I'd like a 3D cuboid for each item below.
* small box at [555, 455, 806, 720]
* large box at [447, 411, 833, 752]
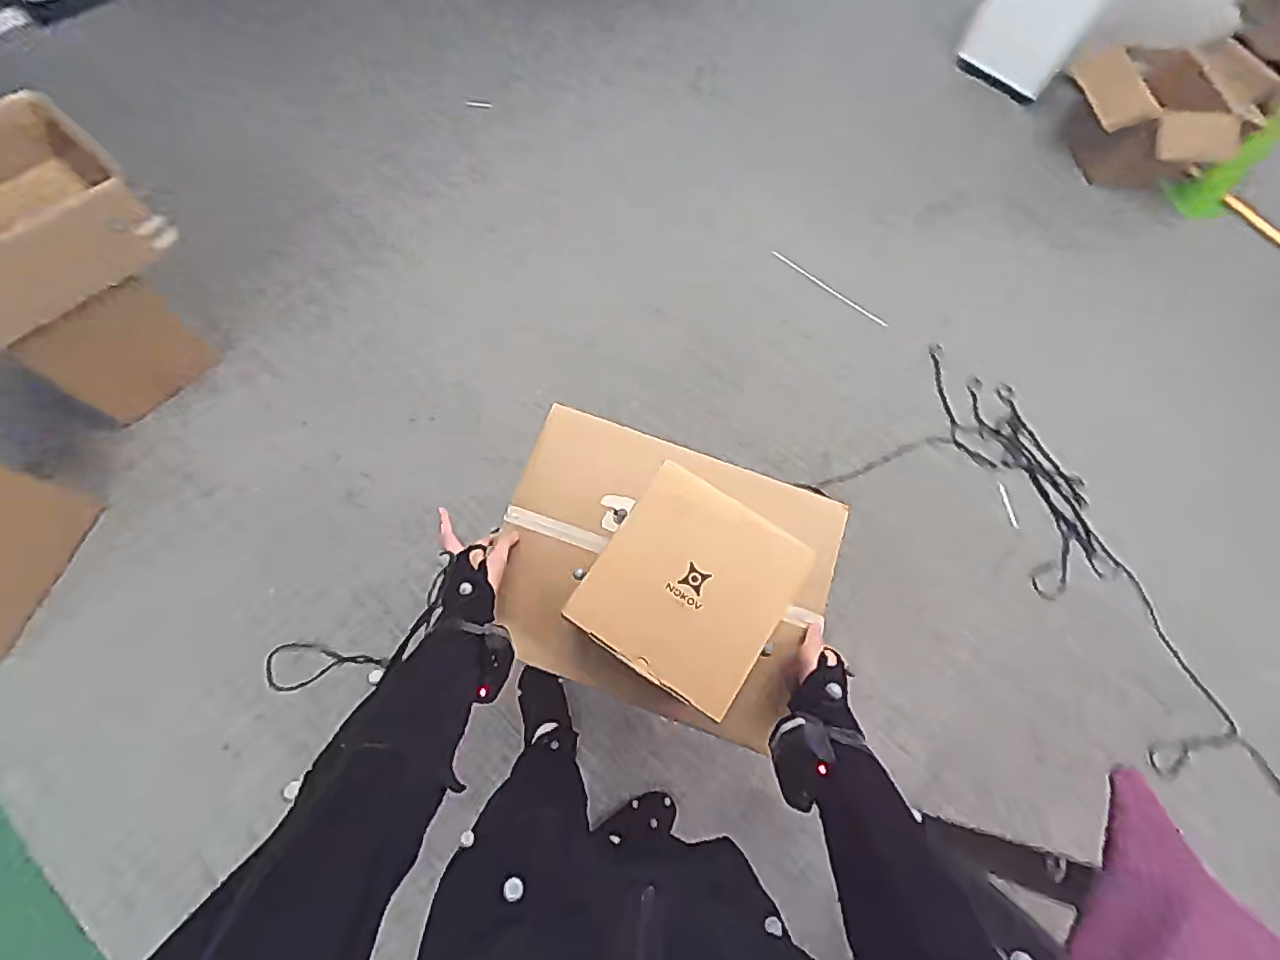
[{"bbox_3d":[0.034,0.105,0.551,0.168,0.176,0.179,32,79,6],"label":"small box"},{"bbox_3d":[0.009,0.145,0.793,0.408,0.320,0.320,18,75,4],"label":"large box"}]
